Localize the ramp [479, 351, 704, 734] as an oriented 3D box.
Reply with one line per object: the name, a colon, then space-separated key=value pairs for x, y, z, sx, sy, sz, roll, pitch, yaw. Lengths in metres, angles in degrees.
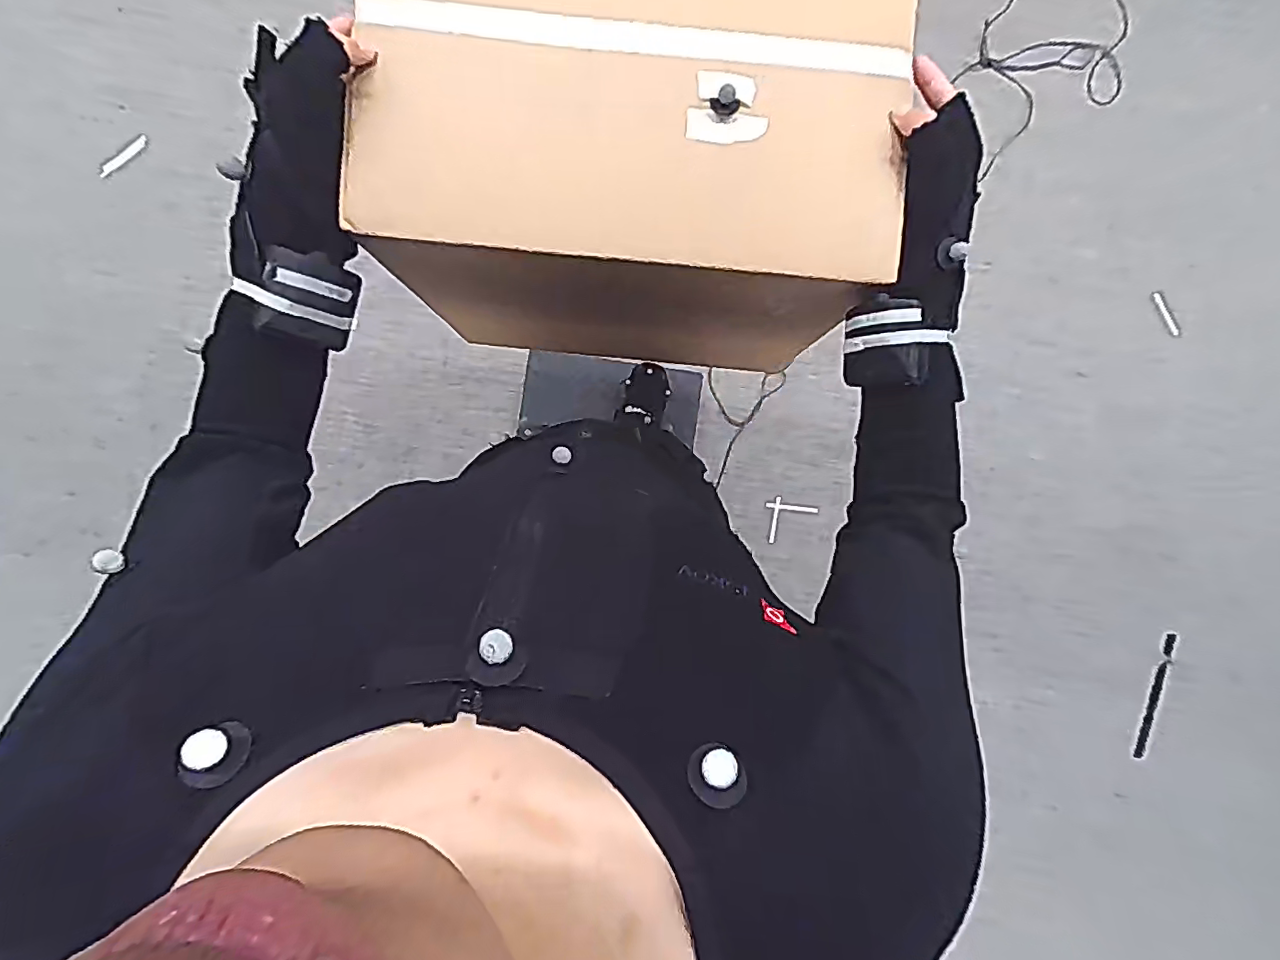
ramp: x=-0.124 y=0.155 z=1.485 sx=0.509 sy=0.206 sz=0.991 roll=6 pitch=95 yaw=0

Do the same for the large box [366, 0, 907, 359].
large box: x=-0.004 y=-0.324 z=0.558 sx=0.408 sy=0.320 sz=0.320 roll=5 pitch=90 yaw=-2
